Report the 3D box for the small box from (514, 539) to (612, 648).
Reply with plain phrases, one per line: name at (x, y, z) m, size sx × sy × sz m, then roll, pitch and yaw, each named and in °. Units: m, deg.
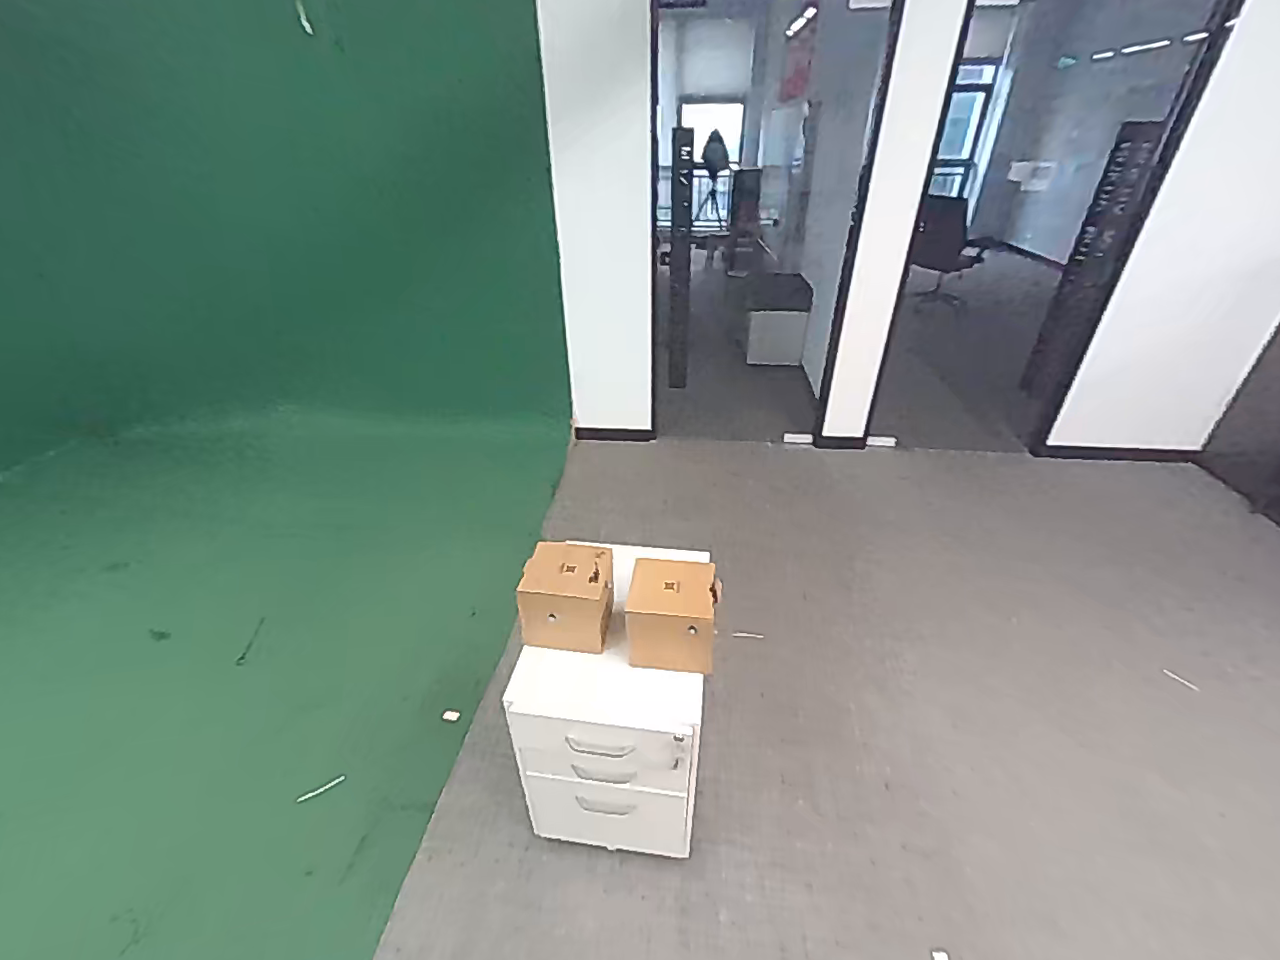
small box at (-0.161, 0.252, 1.200) m, size 0.179 × 0.176 × 0.168 m, roll 4°, pitch 34°, yaw 6°
